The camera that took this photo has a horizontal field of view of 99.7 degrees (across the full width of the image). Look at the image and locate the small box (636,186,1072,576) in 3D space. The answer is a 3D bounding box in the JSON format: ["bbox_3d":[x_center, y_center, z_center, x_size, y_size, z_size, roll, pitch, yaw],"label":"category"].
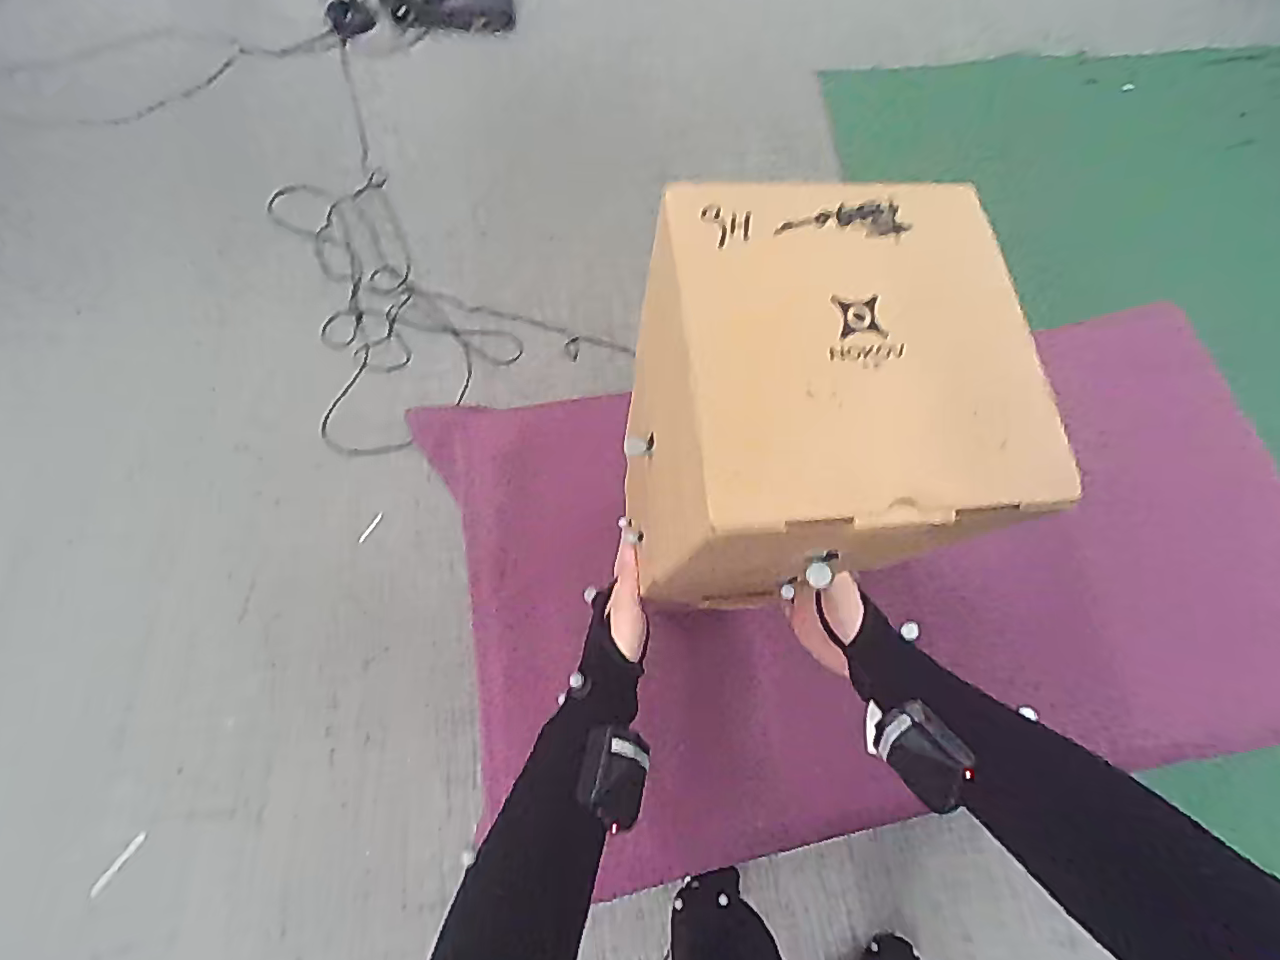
[{"bbox_3d":[0.090,-0.039,0.321,0.168,0.176,0.179,-4,74,-7],"label":"small box"}]

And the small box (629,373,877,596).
[{"bbox_3d":[0.080,0.007,0.478,0.168,0.176,0.179,-3,72,-6],"label":"small box"}]

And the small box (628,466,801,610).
[{"bbox_3d":[0.073,0.058,0.633,0.168,0.176,0.179,-2,71,-5],"label":"small box"}]
